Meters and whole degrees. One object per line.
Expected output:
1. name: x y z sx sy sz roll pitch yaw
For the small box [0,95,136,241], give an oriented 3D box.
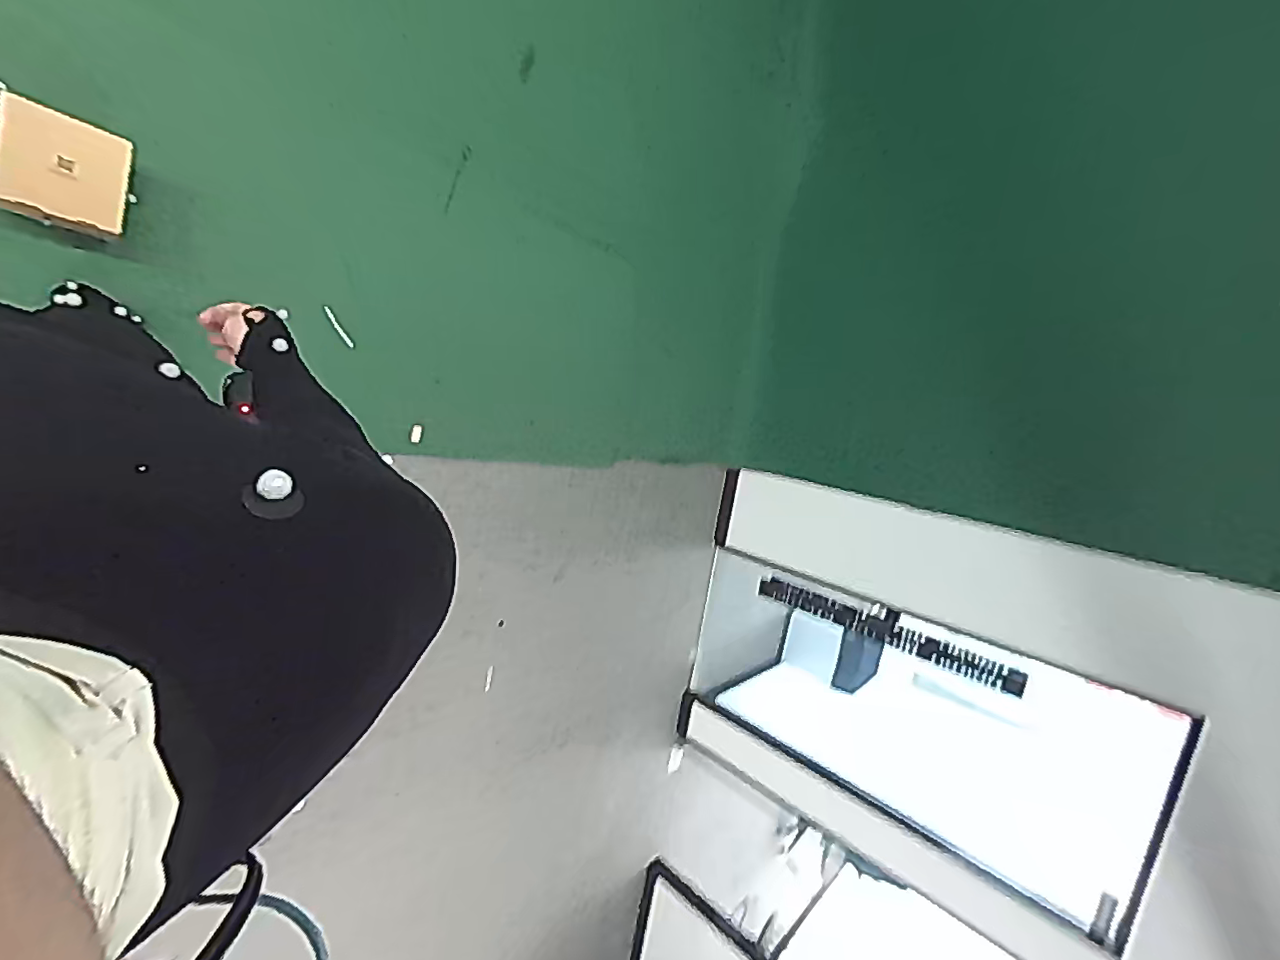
1. small box: -1.087 -0.573 1.021 0.168 0.176 0.179 7 98 -49
